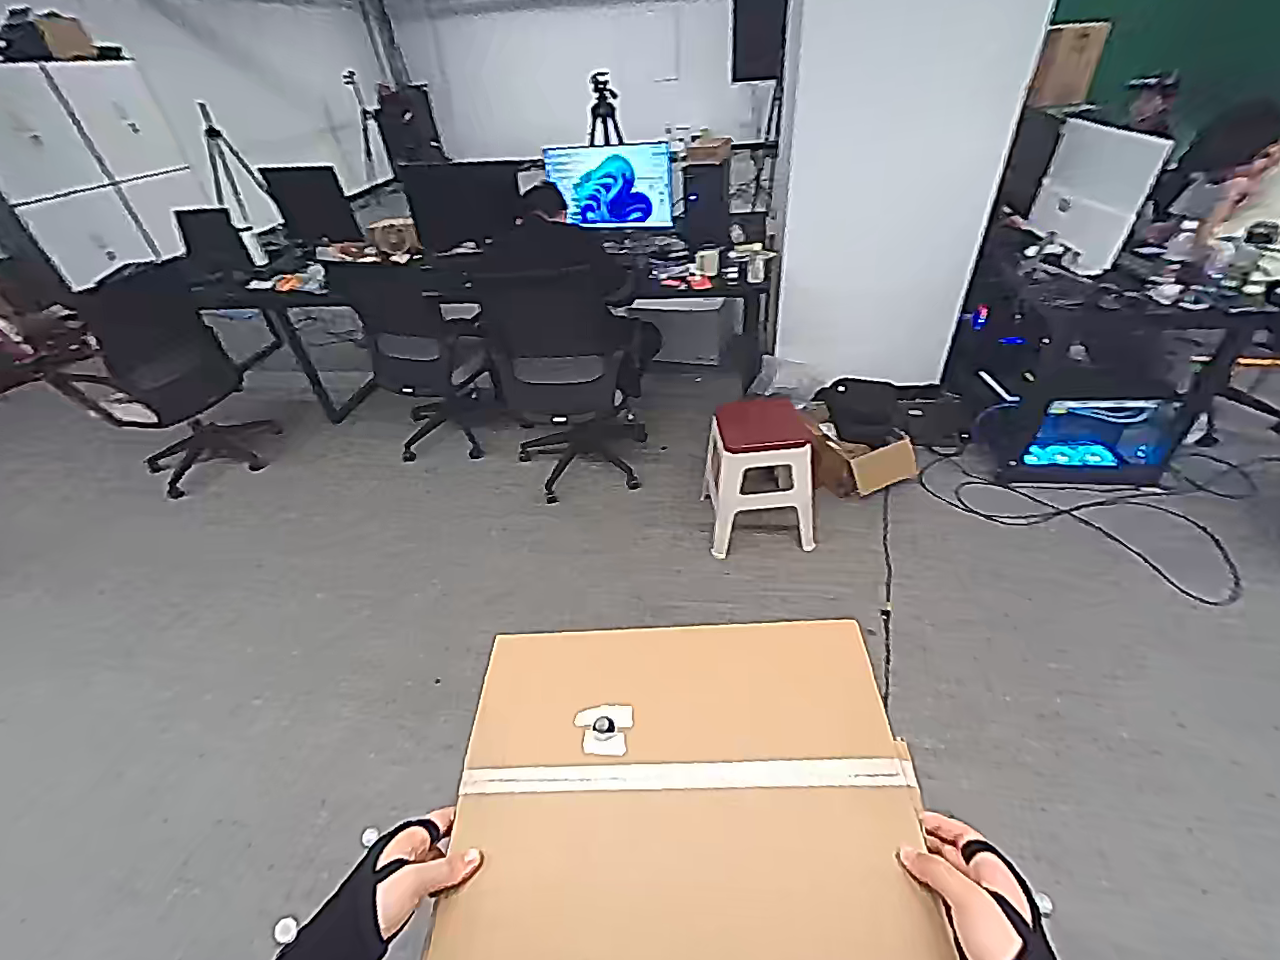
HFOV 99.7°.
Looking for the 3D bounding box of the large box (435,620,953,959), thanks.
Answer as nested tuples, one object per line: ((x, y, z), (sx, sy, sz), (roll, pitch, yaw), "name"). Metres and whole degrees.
((0.055, 0.387, 0.603), (0.408, 0.320, 0.320), (-6, 42, 7), "large box")
